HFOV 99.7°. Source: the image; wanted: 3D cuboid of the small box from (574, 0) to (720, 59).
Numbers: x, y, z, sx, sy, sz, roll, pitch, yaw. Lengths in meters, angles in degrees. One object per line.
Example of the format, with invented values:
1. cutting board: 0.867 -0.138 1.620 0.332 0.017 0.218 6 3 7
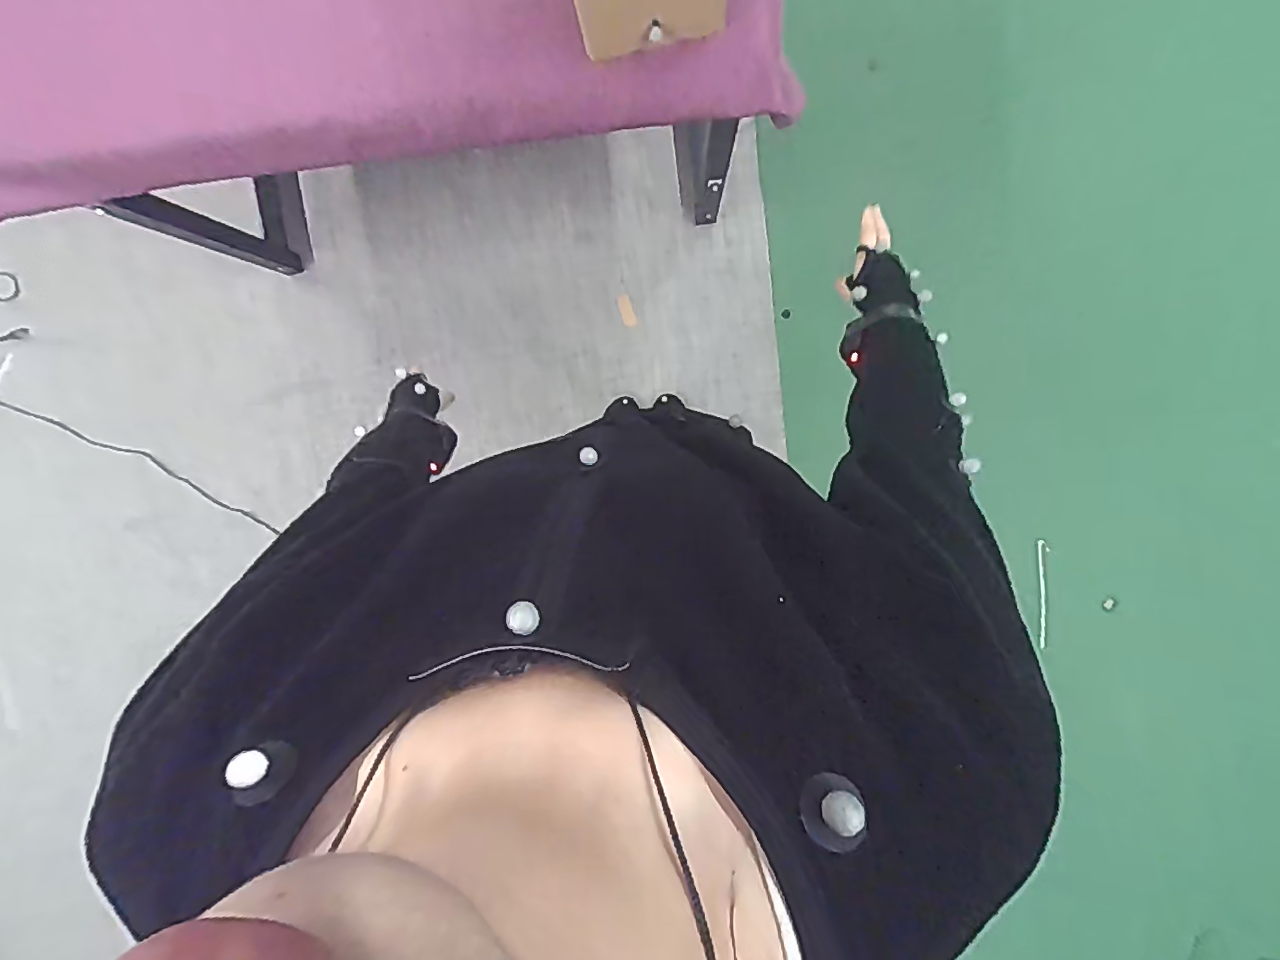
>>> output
1. small box: 0.000 -0.625 0.607 0.179 0.176 0.168 -10 97 5
